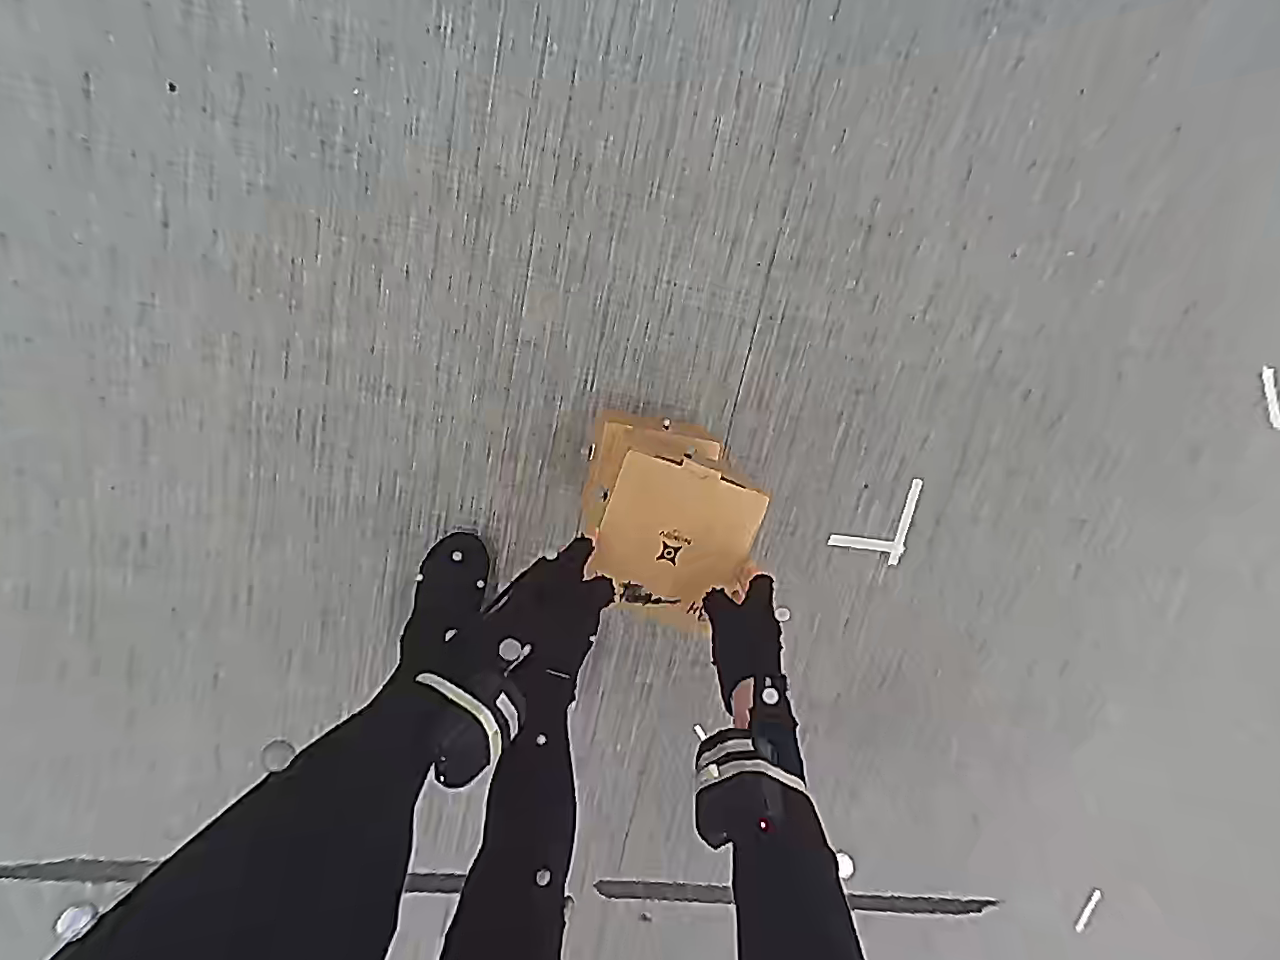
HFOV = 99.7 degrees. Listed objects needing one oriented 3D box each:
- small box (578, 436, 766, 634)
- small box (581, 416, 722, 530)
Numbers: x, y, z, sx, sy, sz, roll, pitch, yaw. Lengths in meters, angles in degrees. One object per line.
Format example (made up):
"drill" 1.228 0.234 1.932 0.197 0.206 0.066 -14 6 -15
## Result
"small box" 0.026 0.055 0.670 0.168 0.176 0.179 19 99 -9
"small box" 0.007 -0.001 0.852 0.179 0.176 0.168 9 102 -10
